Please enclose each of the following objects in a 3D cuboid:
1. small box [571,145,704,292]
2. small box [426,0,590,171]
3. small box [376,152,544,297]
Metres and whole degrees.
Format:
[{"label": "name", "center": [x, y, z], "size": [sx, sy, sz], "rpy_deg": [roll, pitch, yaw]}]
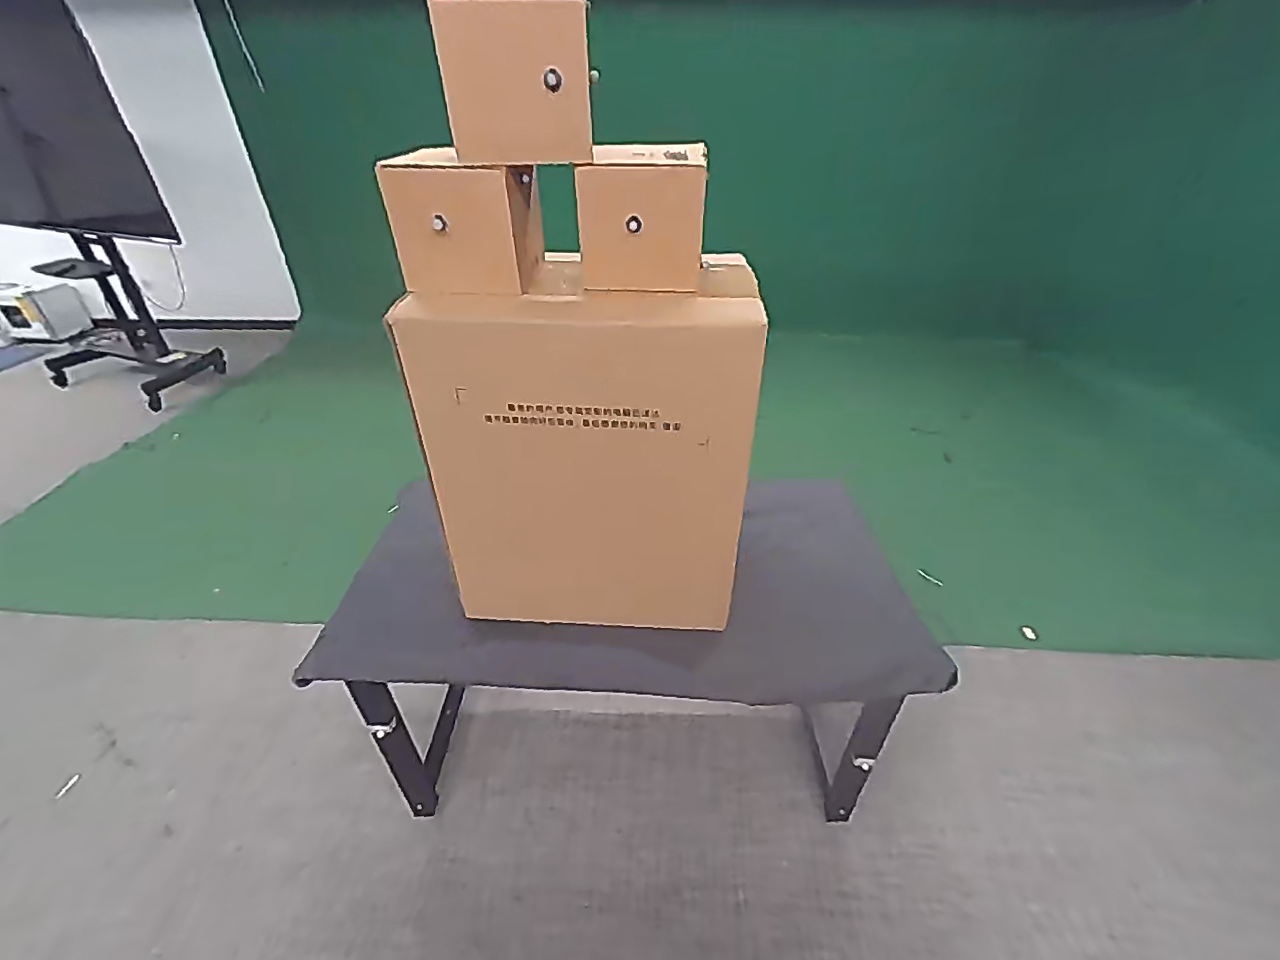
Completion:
[{"label": "small box", "center": [0.004, -0.392, 0.815], "size": [0.179, 0.176, 0.168], "rpy_deg": [2, 39, 5]}, {"label": "small box", "center": [-0.157, -0.514, 0.712], "size": [0.179, 0.176, 0.168], "rpy_deg": [-5, 37, -4]}, {"label": "small box", "center": [-0.254, -0.385, 0.814], "size": [0.179, 0.176, 0.168], "rpy_deg": [3, 39, 4]}]
